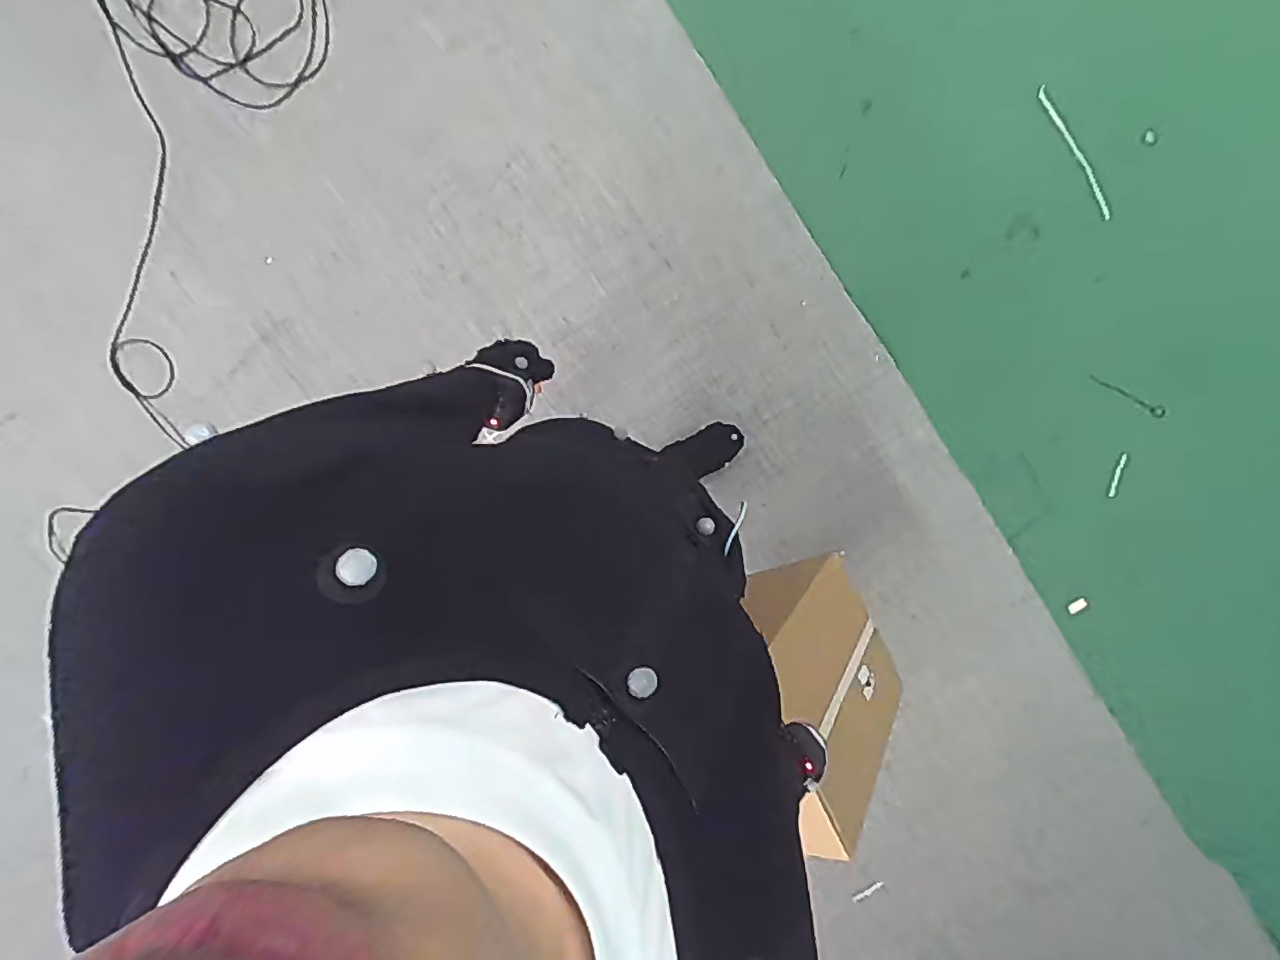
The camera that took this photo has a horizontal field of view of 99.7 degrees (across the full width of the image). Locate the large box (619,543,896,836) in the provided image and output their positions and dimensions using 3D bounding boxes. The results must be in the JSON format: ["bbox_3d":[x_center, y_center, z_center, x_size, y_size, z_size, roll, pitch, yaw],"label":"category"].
[{"bbox_3d":[0.234,0.371,1.019,0.320,0.408,0.320,-24,94,39],"label":"large box"}]
